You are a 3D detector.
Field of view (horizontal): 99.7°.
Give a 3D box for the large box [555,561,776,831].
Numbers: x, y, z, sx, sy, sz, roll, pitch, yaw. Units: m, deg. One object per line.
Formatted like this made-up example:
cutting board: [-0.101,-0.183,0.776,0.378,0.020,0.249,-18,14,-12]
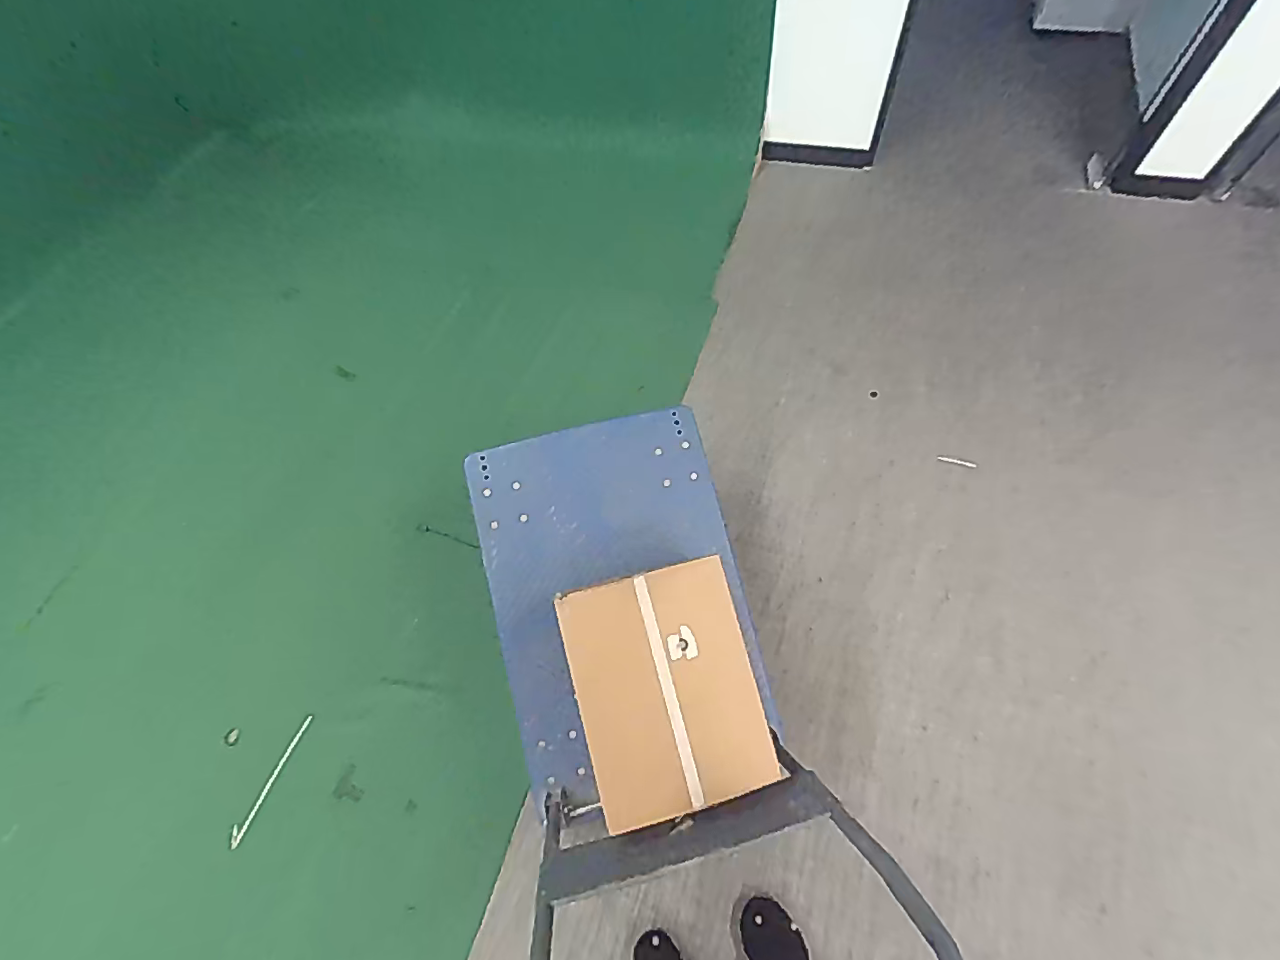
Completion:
large box: [0.036,0.406,1.114,0.320,0.320,0.408,-14,80,-7]
